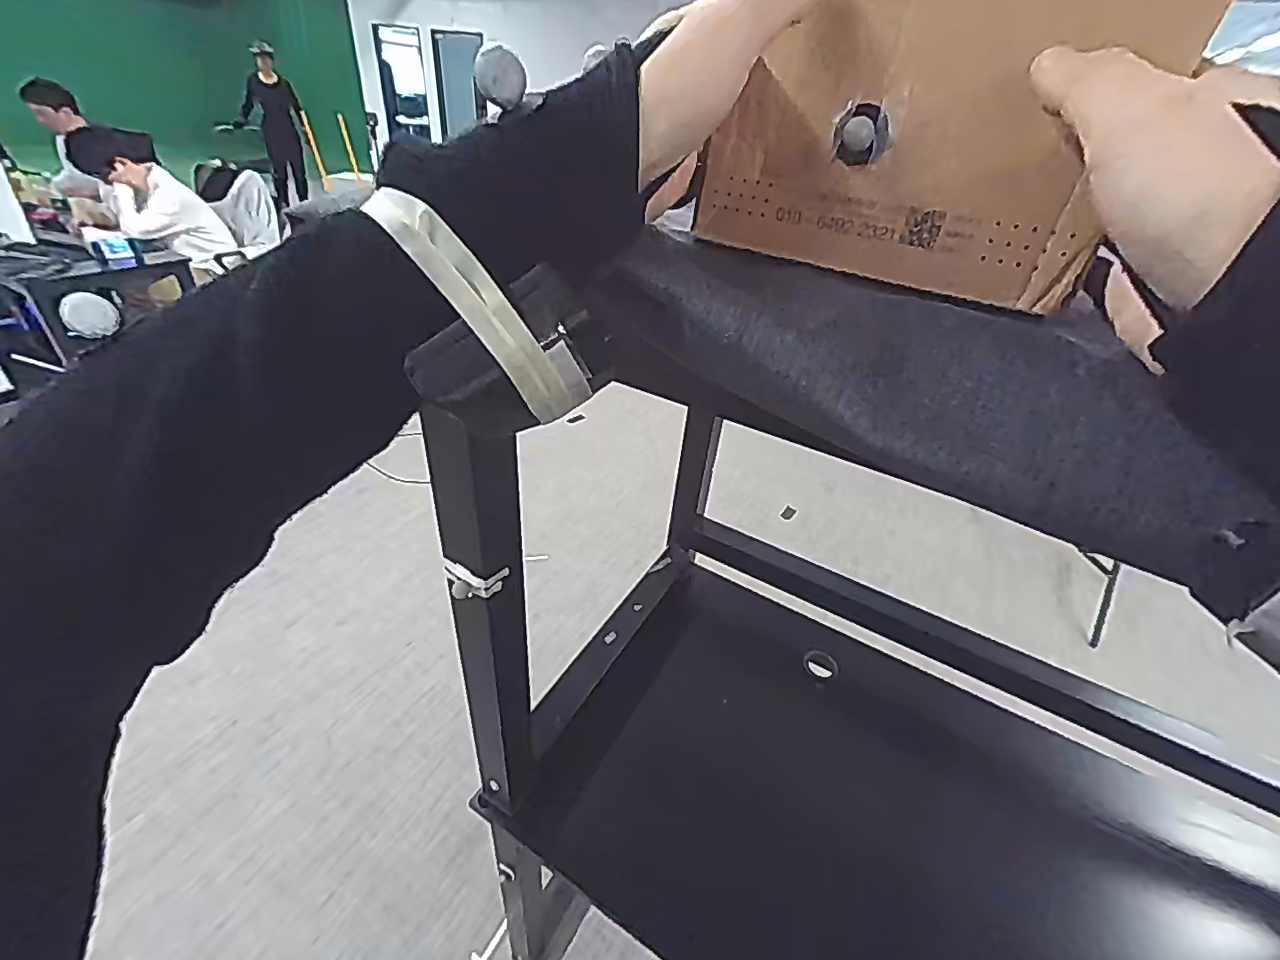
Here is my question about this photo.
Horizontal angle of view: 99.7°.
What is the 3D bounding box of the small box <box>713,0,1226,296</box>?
[{"bbox_3d":[0.149,-0.203,0.263,0.168,0.176,0.179,22,35,21],"label":"small box"}]
